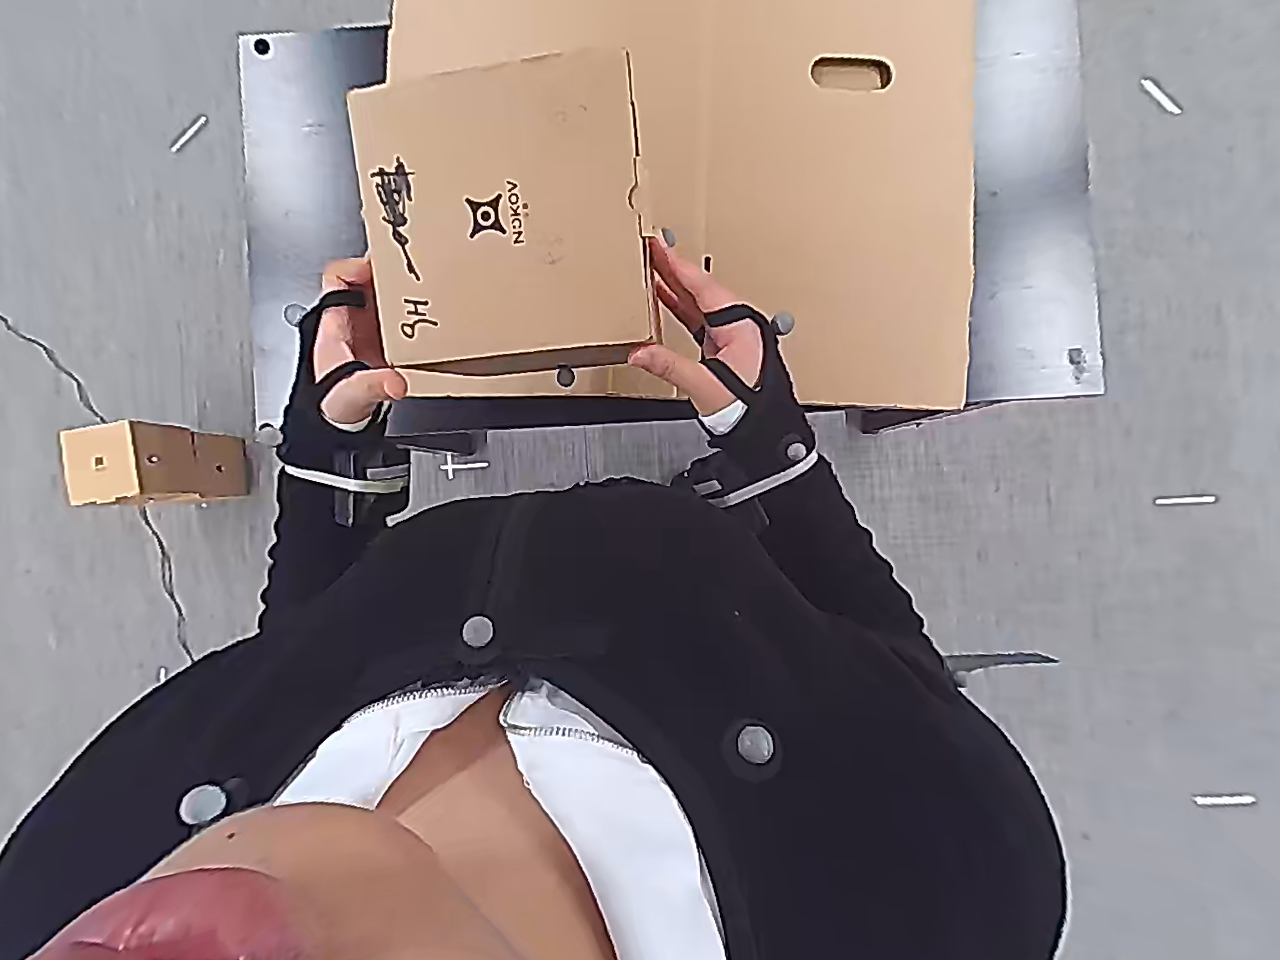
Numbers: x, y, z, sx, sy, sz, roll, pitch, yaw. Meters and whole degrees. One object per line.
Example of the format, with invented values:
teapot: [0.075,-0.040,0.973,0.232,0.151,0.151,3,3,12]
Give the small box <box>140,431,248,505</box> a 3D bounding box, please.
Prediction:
small box: [-1.209,-0.029,1.465,0.168,0.176,0.179,-7,90,2]

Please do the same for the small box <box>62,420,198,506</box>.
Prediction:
small box: [-1.215,-0.038,1.303,0.168,0.176,0.179,-10,88,1]
